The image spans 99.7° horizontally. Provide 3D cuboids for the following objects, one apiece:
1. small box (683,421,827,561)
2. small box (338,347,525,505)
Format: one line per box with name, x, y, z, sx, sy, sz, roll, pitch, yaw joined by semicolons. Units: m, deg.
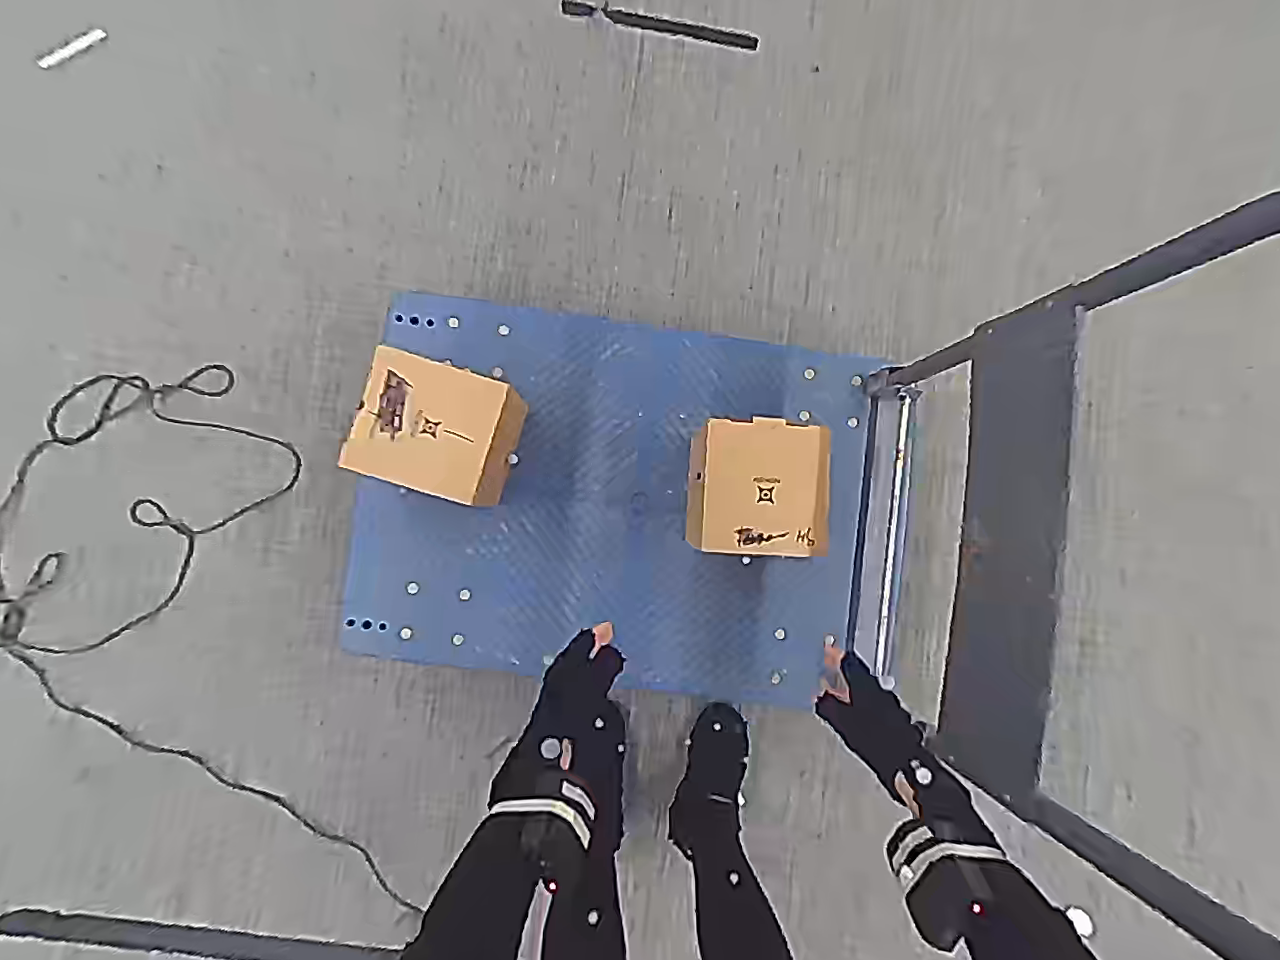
small box;0.157;0.020;0.784;0.168;0.176;0.179;4;86;-2
small box;-0.280;-0.065;0.768;0.179;0.176;0.168;18;86;-3
